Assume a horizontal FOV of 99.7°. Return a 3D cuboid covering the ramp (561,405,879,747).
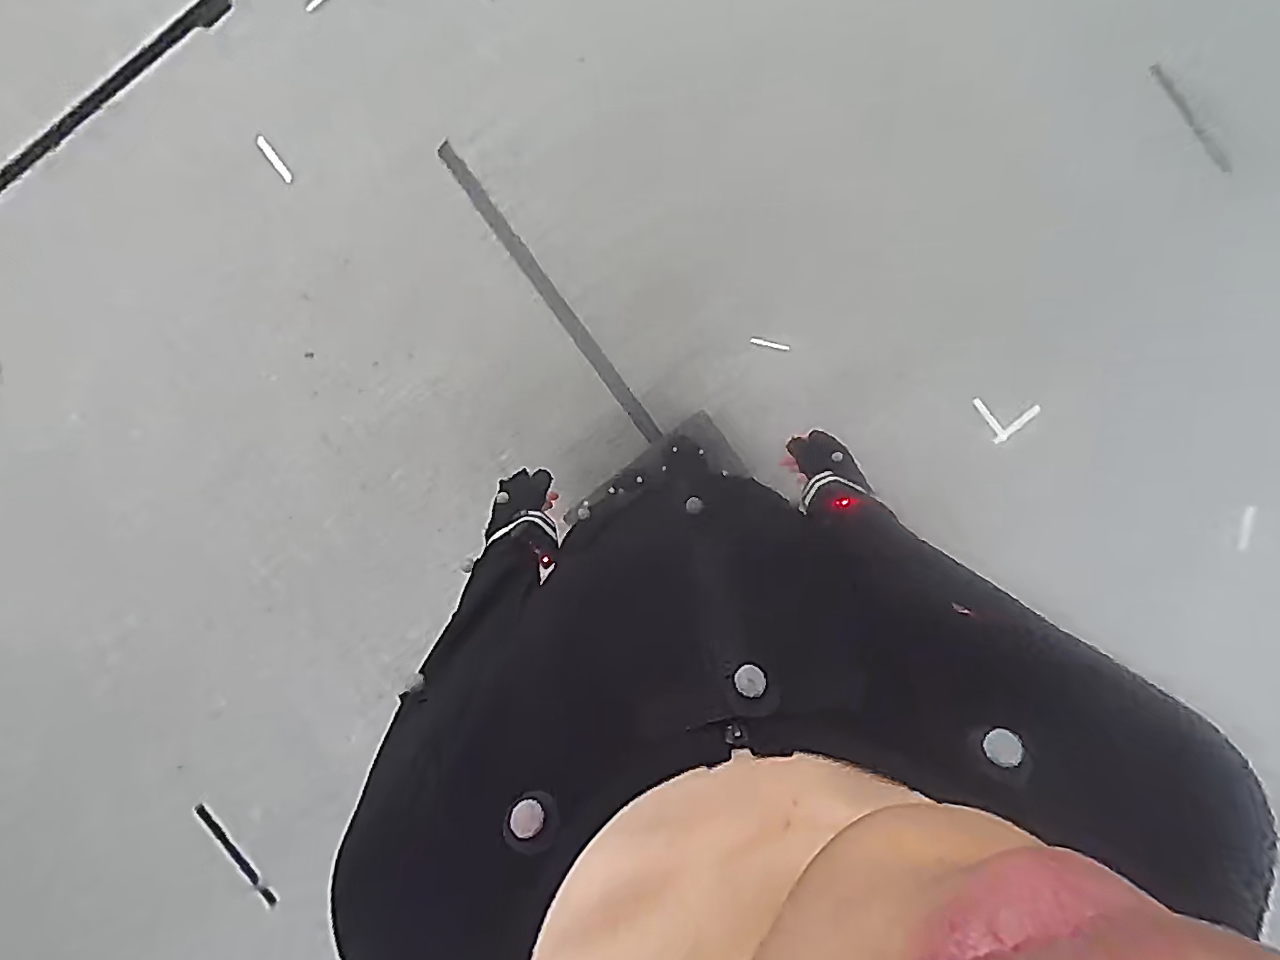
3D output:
[{"bbox_3d":[0.268,0.316,1.585,0.509,0.206,0.991,-40,93,1],"label":"ramp"}]
